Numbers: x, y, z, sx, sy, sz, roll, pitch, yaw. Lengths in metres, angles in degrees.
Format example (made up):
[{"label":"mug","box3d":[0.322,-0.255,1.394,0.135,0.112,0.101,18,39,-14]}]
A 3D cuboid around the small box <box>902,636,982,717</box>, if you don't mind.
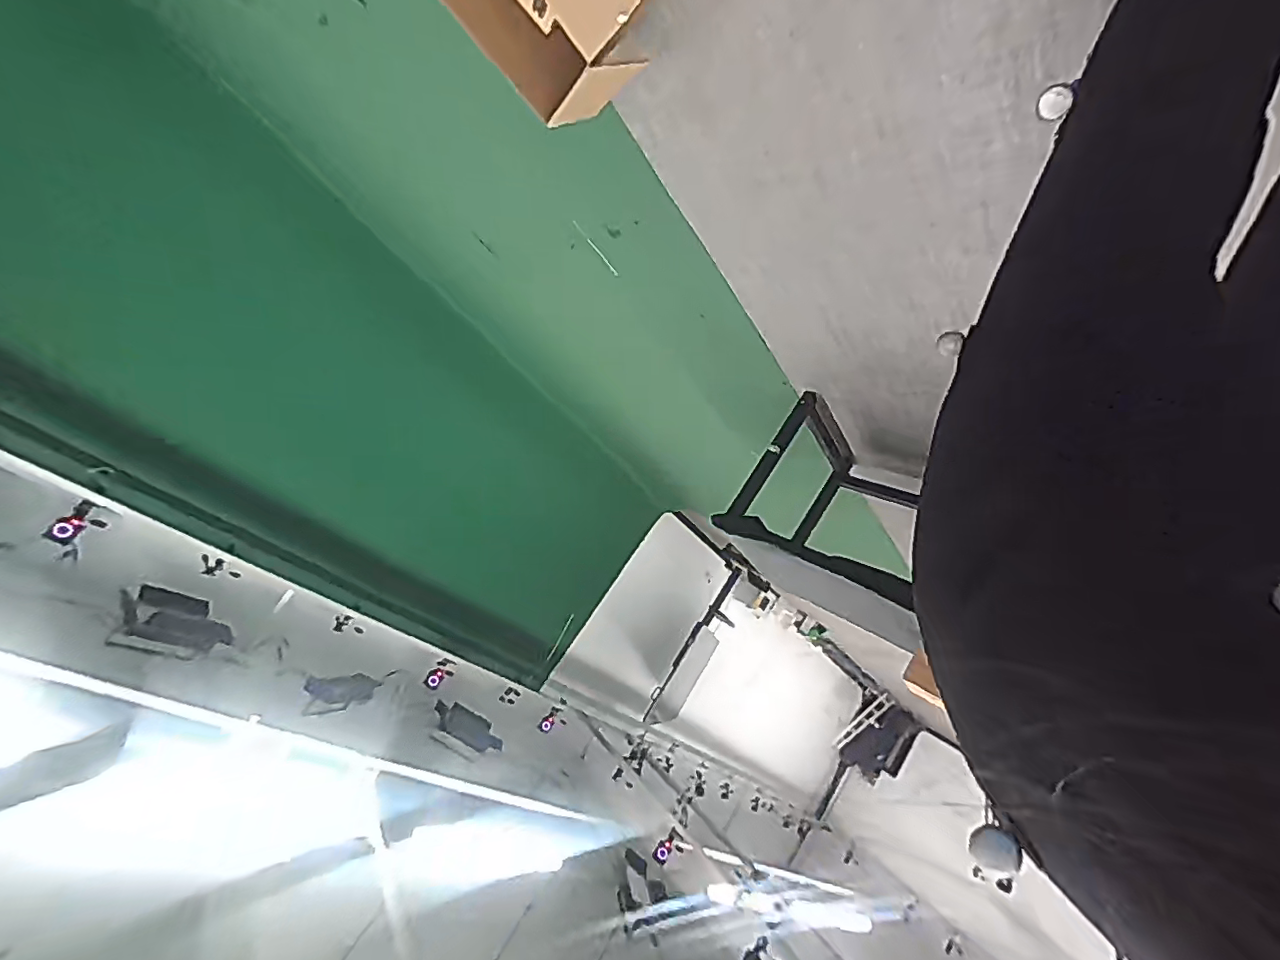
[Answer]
[{"label":"small box","box3d":[0.977,0.630,1.746,0.168,0.176,0.179,25,166,44]}]
